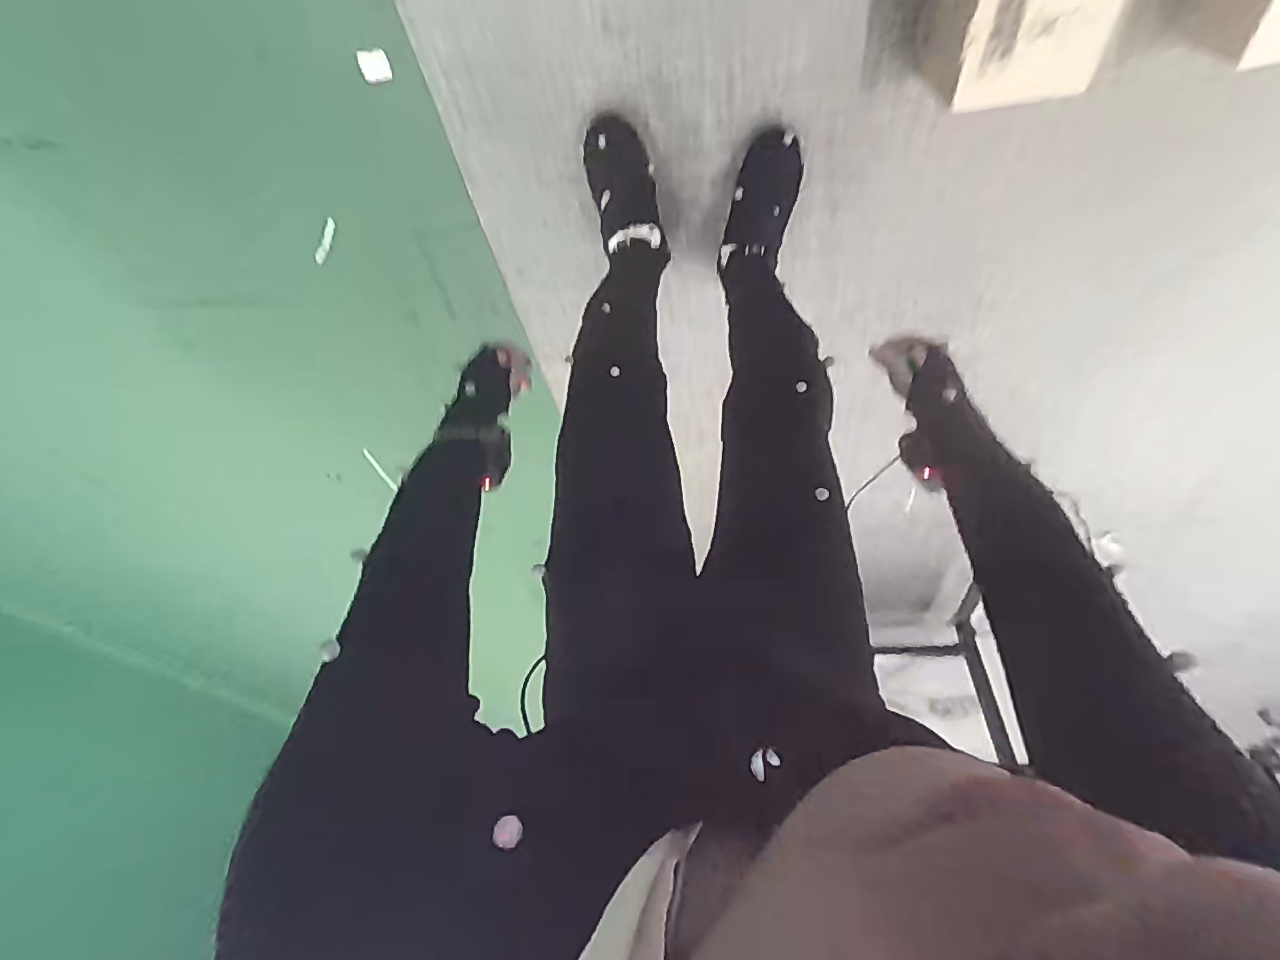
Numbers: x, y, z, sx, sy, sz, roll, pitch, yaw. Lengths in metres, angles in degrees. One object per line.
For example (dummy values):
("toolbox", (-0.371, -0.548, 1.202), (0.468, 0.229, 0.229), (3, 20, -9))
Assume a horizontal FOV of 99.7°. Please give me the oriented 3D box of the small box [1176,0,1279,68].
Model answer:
("small box", (0.848, -0.652, 0.676), (0.179, 0.176, 0.168), (-6, 139, 10))
